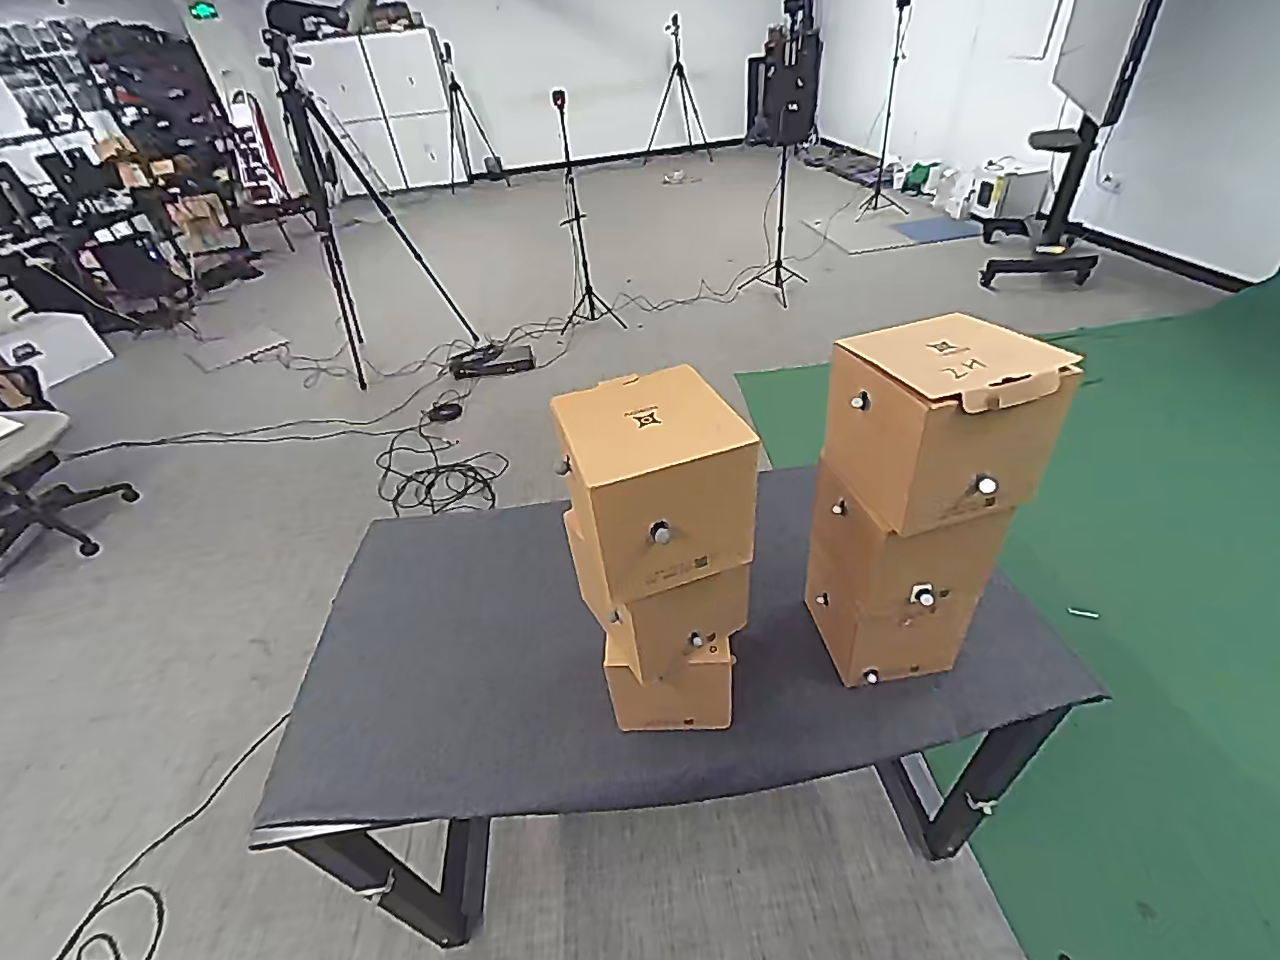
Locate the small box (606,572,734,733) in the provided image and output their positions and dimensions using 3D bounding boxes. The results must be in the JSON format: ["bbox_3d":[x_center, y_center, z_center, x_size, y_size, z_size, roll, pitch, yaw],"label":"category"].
[{"bbox_3d":[0.047,0.248,0.802,0.168,0.176,0.179,-3,37,5],"label":"small box"}]

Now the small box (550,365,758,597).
[{"bbox_3d":[0.014,0.004,0.585,0.168,0.176,0.179,-16,39,-11],"label":"small box"}]

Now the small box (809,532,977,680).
[{"bbox_3d":[0.369,0.184,0.826,0.168,0.176,0.179,-9,36,-1],"label":"small box"}]

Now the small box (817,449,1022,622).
[{"bbox_3d":[0.352,0.059,0.725,0.168,0.176,0.179,-12,38,-4],"label":"small box"}]

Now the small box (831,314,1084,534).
[{"bbox_3d":[0.335,-0.067,0.618,0.168,0.176,0.179,-15,37,-6],"label":"small box"}]
